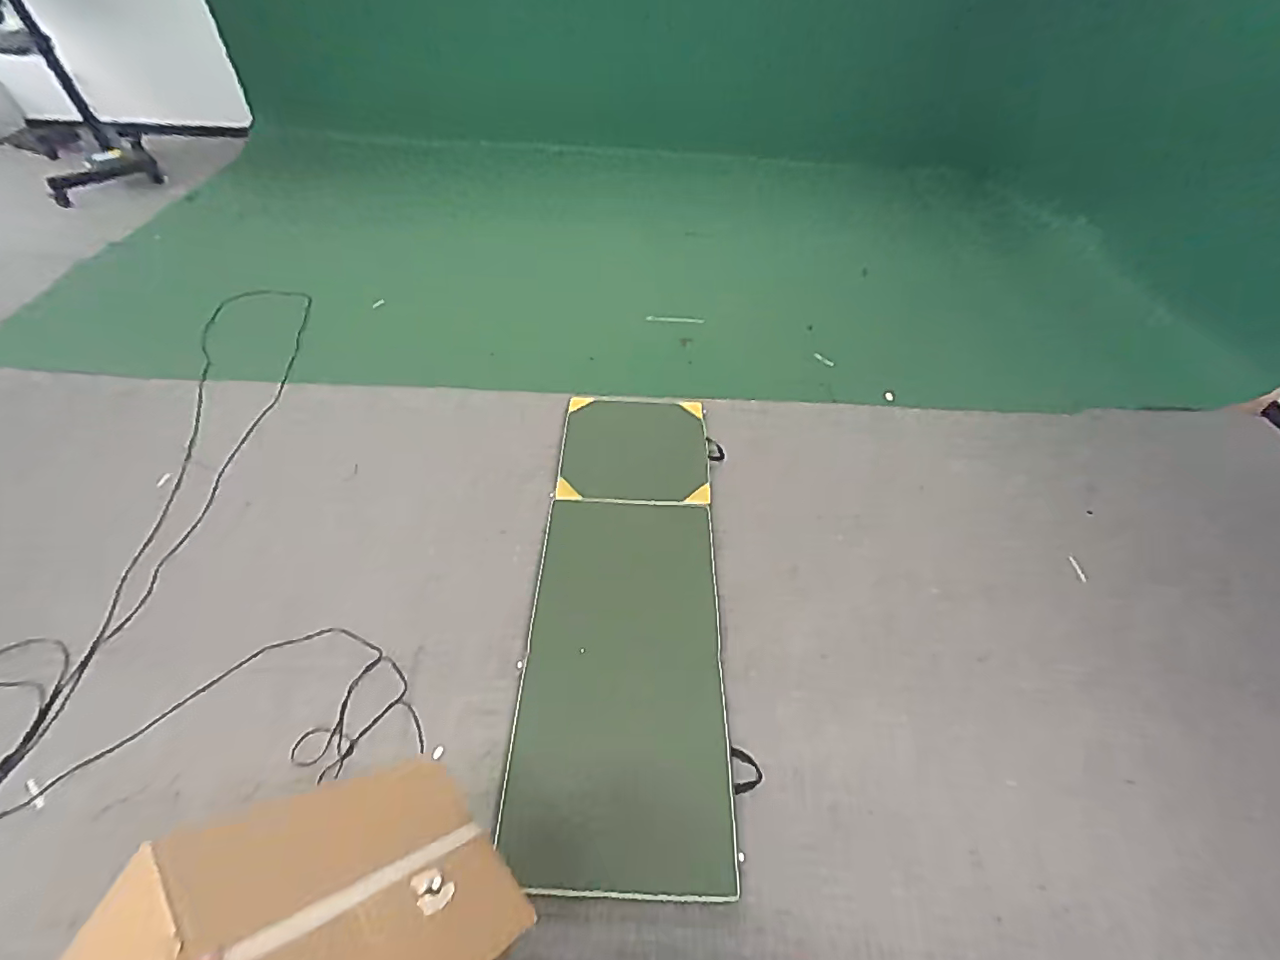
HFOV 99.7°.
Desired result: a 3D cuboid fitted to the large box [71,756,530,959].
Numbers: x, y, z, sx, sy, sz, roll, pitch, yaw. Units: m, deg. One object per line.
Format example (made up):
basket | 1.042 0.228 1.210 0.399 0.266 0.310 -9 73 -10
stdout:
large box | -0.432 0.637 0.698 0.320 0.408 0.320 42 97 28
